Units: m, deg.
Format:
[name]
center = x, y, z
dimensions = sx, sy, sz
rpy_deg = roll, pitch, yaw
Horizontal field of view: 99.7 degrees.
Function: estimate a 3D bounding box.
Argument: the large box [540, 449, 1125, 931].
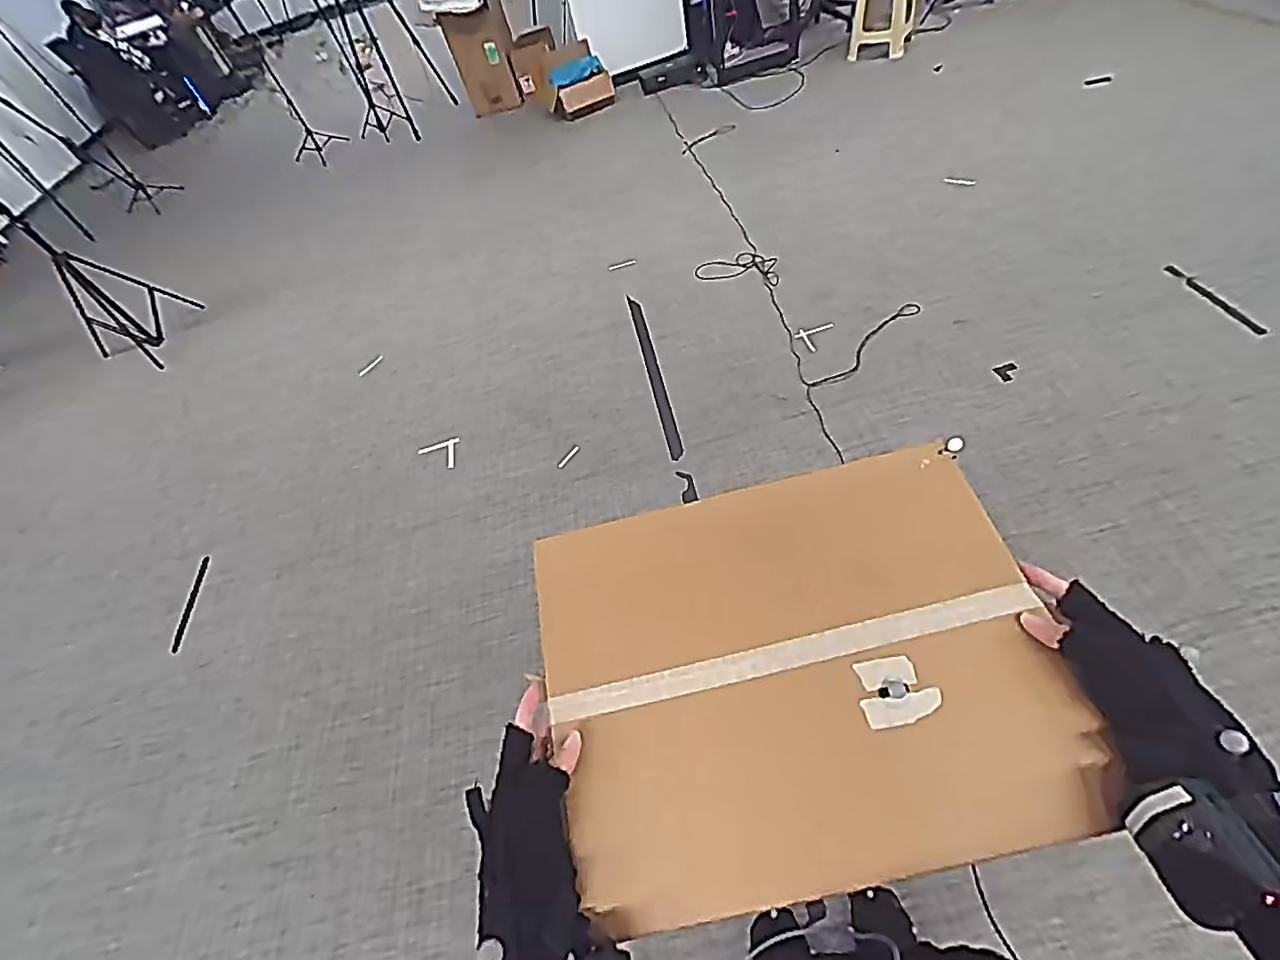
[large box]
center = 0.142, 0.219, 0.585
dimensions = 0.408, 0.320, 0.320
rpy_deg = -14, 60, 1
